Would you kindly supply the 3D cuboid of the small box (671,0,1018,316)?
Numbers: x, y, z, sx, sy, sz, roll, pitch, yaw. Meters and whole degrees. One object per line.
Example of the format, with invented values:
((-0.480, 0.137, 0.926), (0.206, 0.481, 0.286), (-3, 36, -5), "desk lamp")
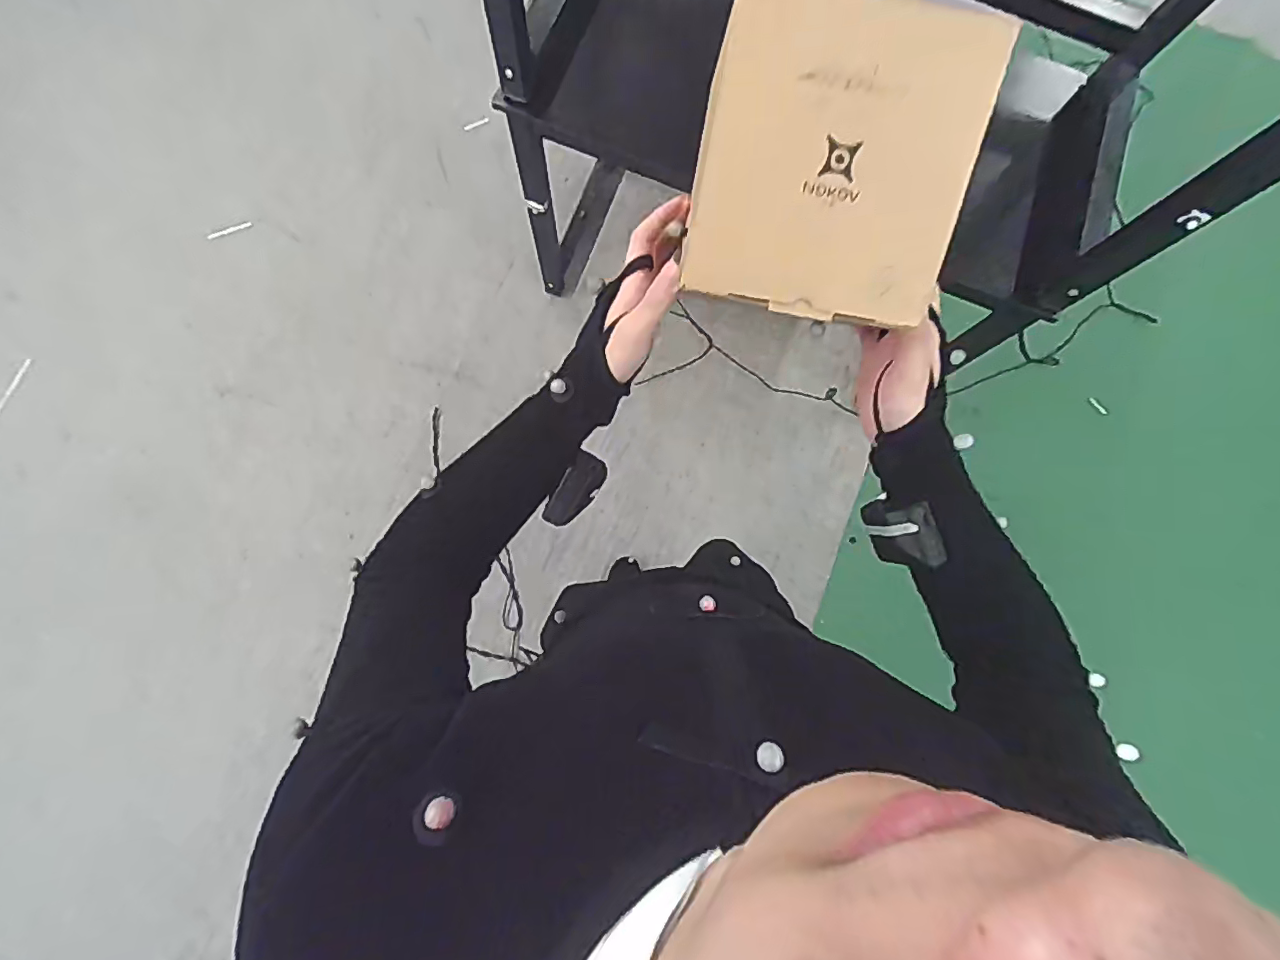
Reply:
((0.120, -0.228, 0.401), (0.168, 0.176, 0.179), (11, 108, -1), "small box")
